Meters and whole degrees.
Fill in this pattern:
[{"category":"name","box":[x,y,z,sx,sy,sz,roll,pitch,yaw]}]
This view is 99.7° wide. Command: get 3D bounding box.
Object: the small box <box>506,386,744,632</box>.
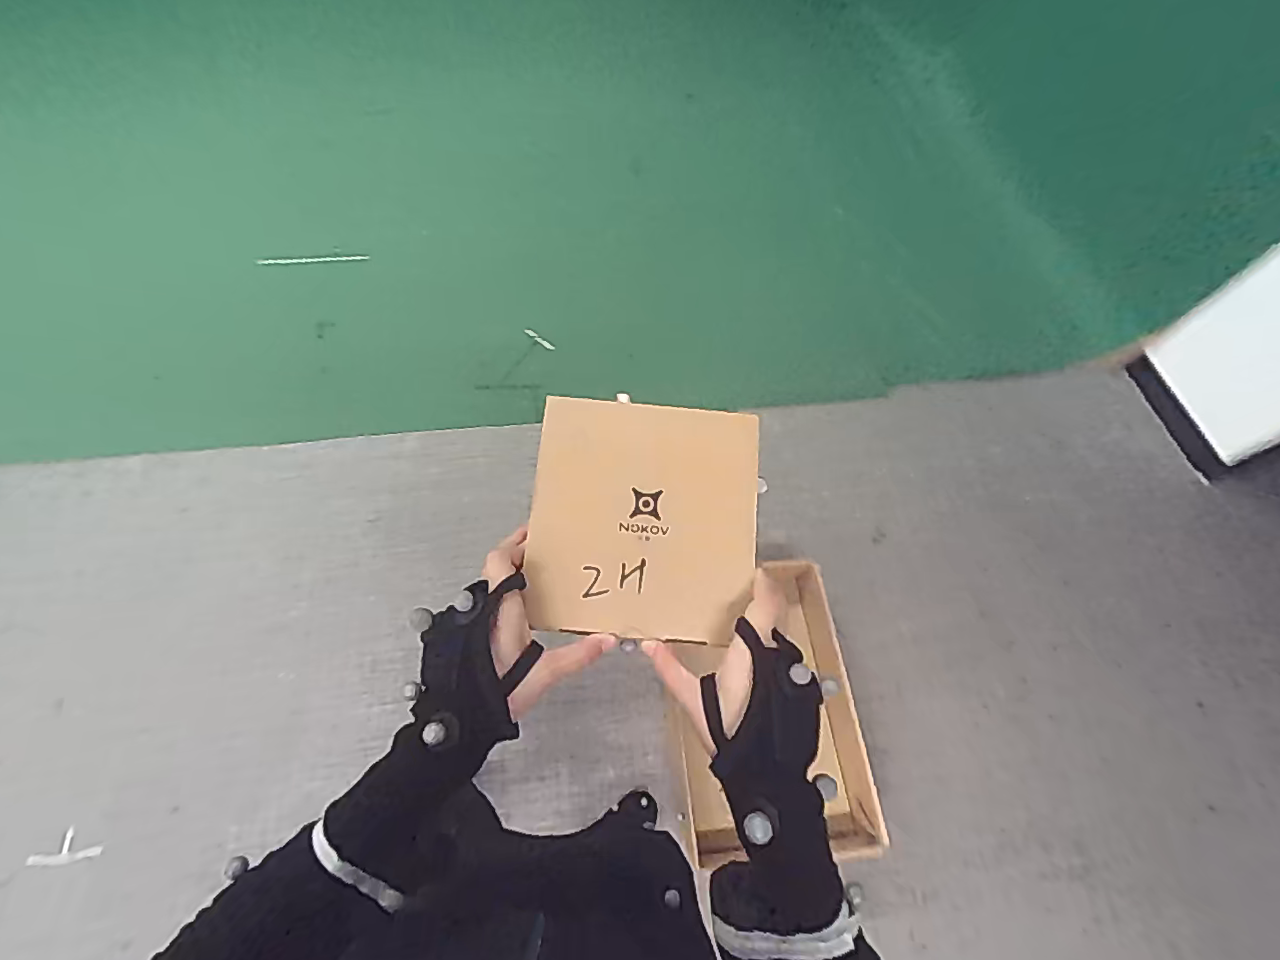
[{"category":"small box","box":[-0.008,0.037,0.477,0.168,0.176,0.179,4,75,1]}]
